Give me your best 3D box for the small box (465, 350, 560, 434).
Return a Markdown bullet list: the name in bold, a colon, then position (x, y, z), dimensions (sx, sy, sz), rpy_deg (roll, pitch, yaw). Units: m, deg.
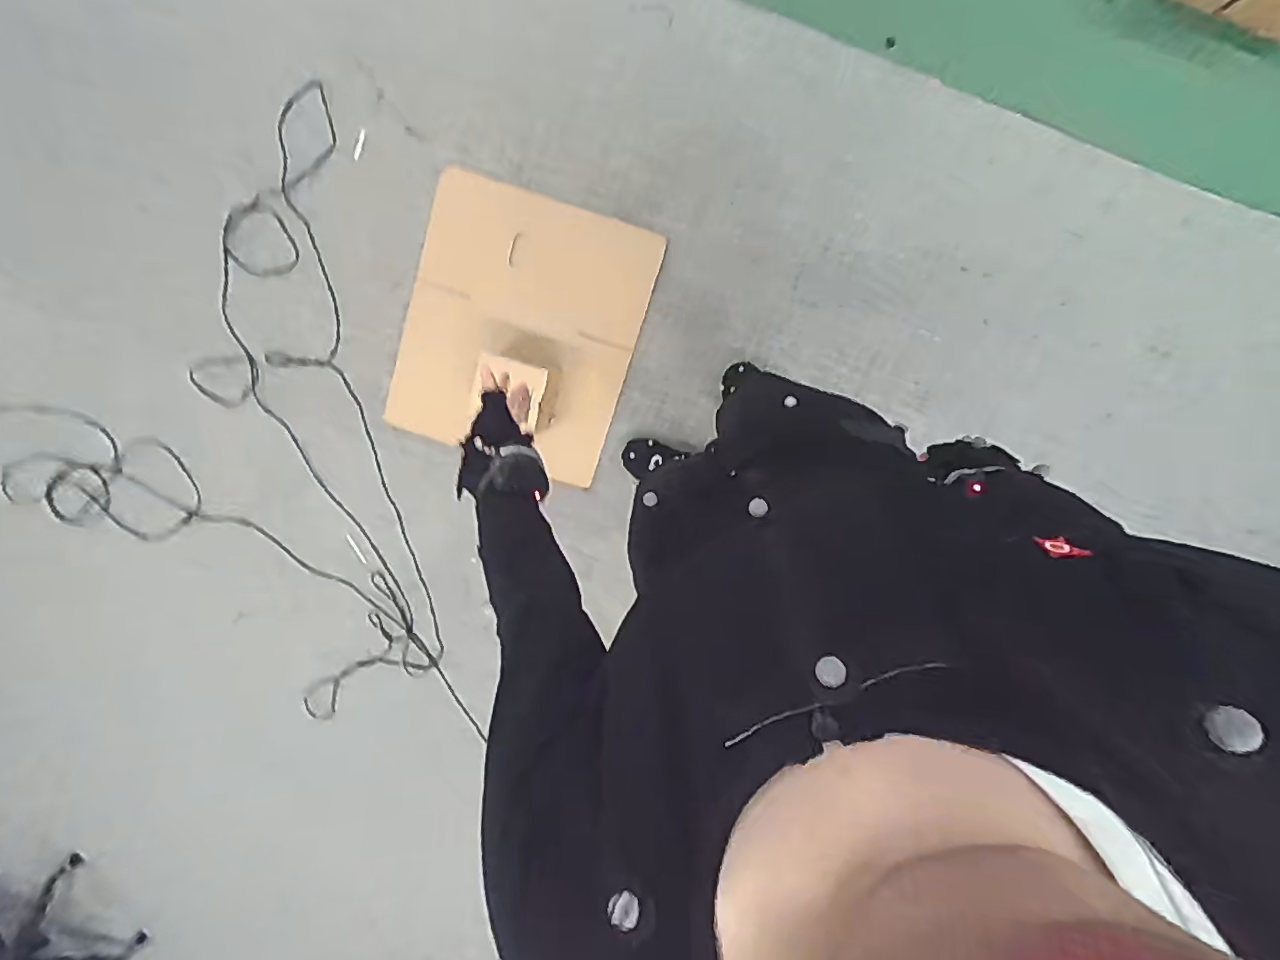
- **small box**: position (-0.316, -0.227, 1.379), dimensions (0.179, 0.176, 0.168), rpy_deg (17, 102, 1)
